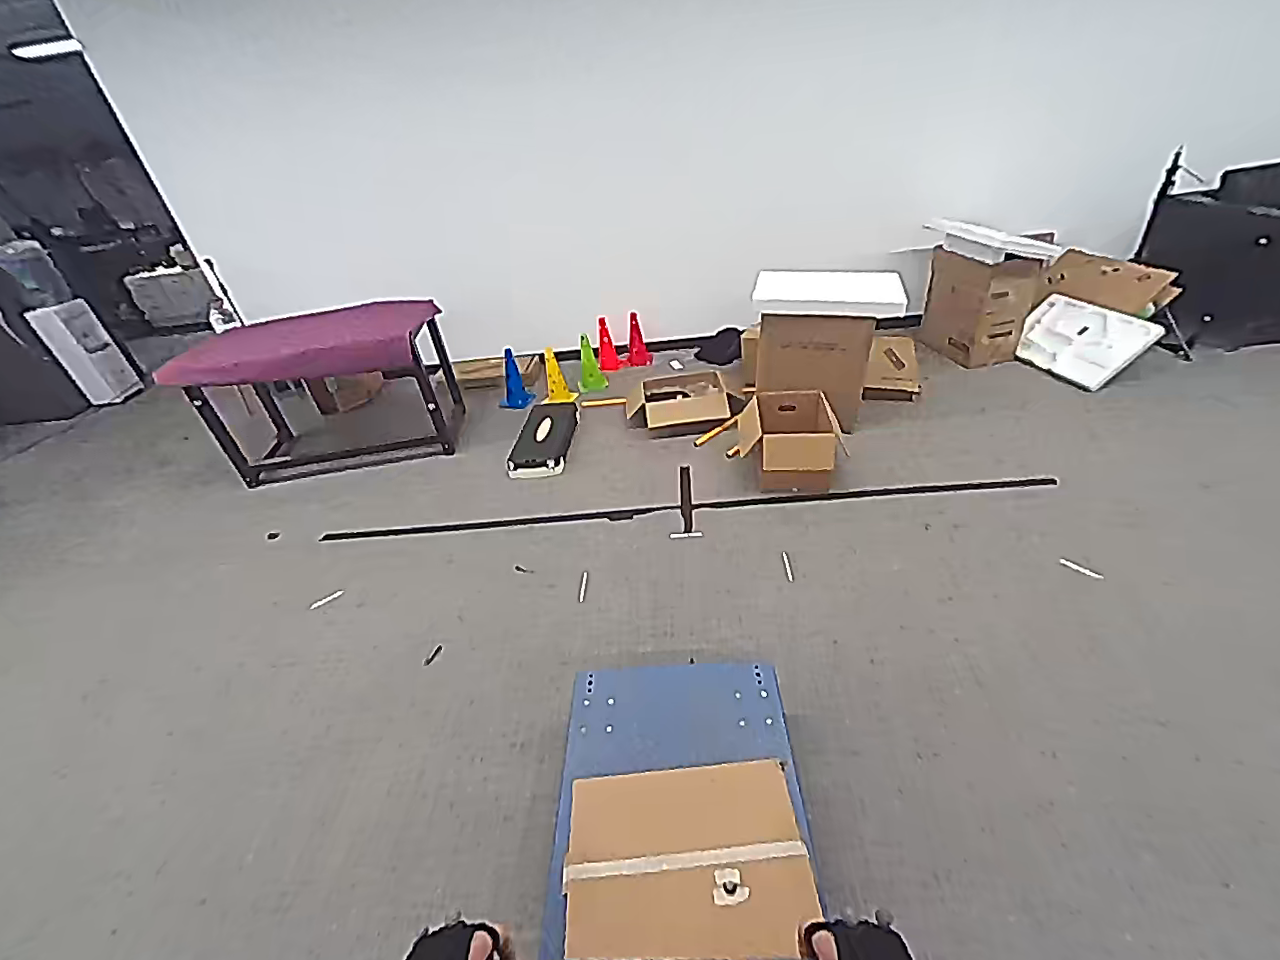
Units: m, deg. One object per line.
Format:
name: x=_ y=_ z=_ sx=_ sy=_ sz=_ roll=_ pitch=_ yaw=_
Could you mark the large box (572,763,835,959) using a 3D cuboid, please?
large box: x=0.095 y=0.778 z=1.001 sx=0.408 sy=0.320 sz=0.320 roll=-6 pitch=35 yaw=0
